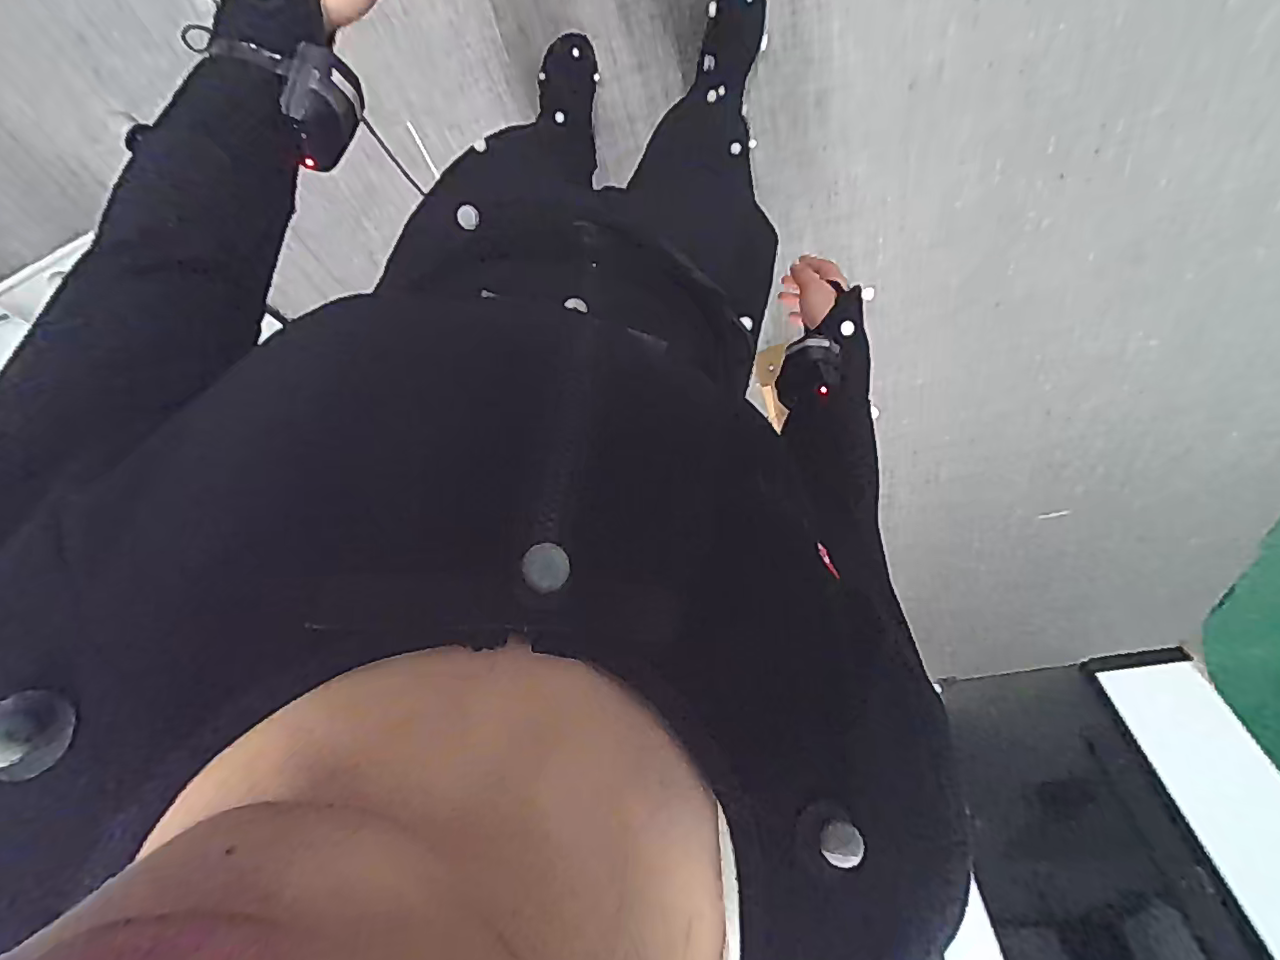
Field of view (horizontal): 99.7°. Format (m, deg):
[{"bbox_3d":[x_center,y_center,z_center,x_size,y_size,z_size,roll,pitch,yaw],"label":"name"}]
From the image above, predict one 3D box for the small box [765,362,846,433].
[{"bbox_3d":[0.433,-0.176,1.413,0.168,0.176,0.179,-14,133,11],"label":"small box"}]
